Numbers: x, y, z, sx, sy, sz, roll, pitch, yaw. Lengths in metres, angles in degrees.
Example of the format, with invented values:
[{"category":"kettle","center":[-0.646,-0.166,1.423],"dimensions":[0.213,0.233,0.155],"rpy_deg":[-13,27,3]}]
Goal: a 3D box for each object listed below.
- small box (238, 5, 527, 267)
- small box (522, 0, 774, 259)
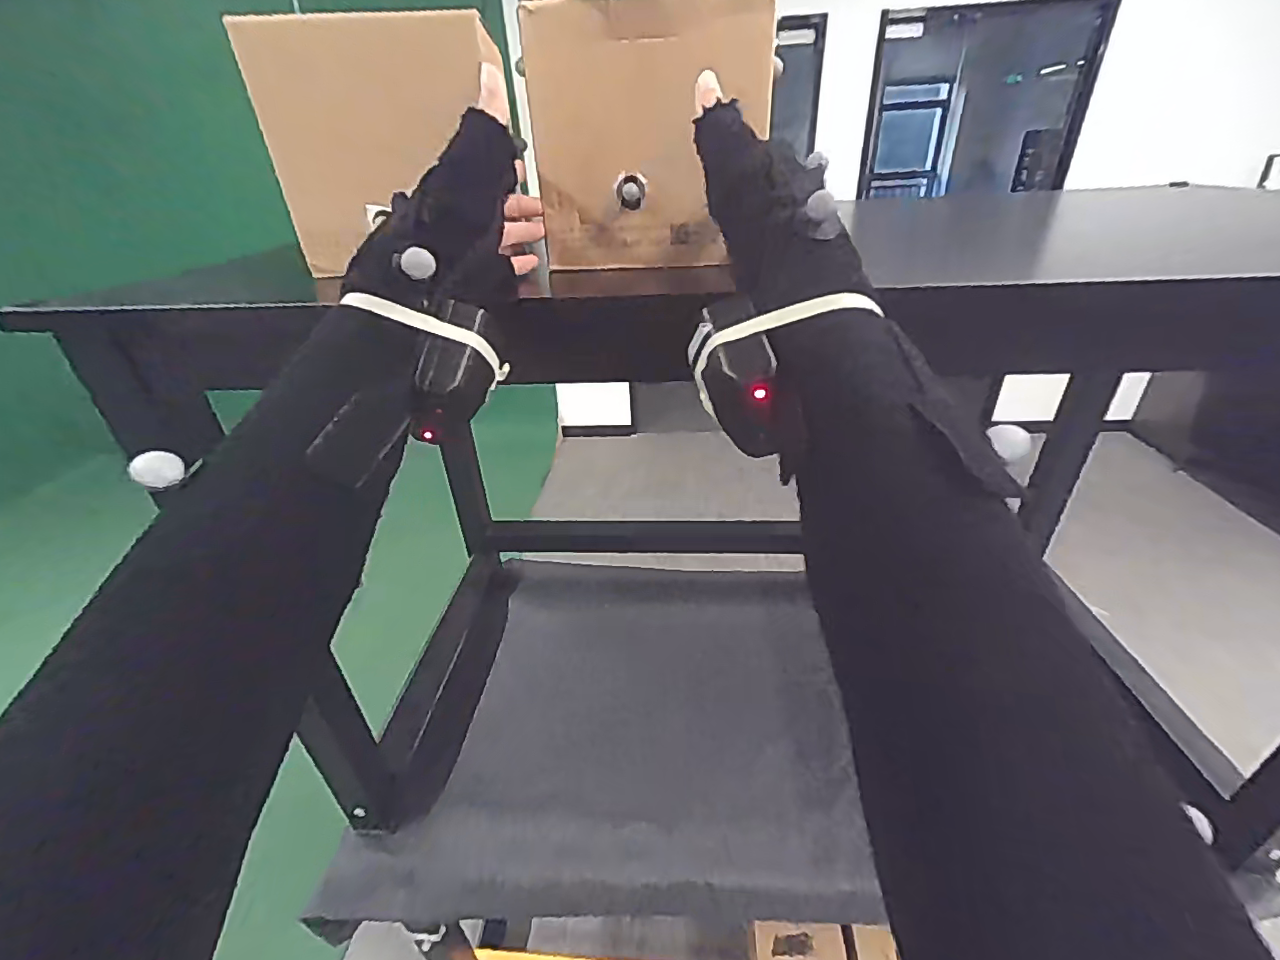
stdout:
[{"category":"small box","center":[-0.197,-0.292,0.480],"dimensions":[0.168,0.176,0.179],"rpy_deg":[-7,32,-5]},{"category":"small box","center":[0.012,-0.287,0.452],"dimensions":[0.168,0.176,0.179],"rpy_deg":[-1,31,5]}]
